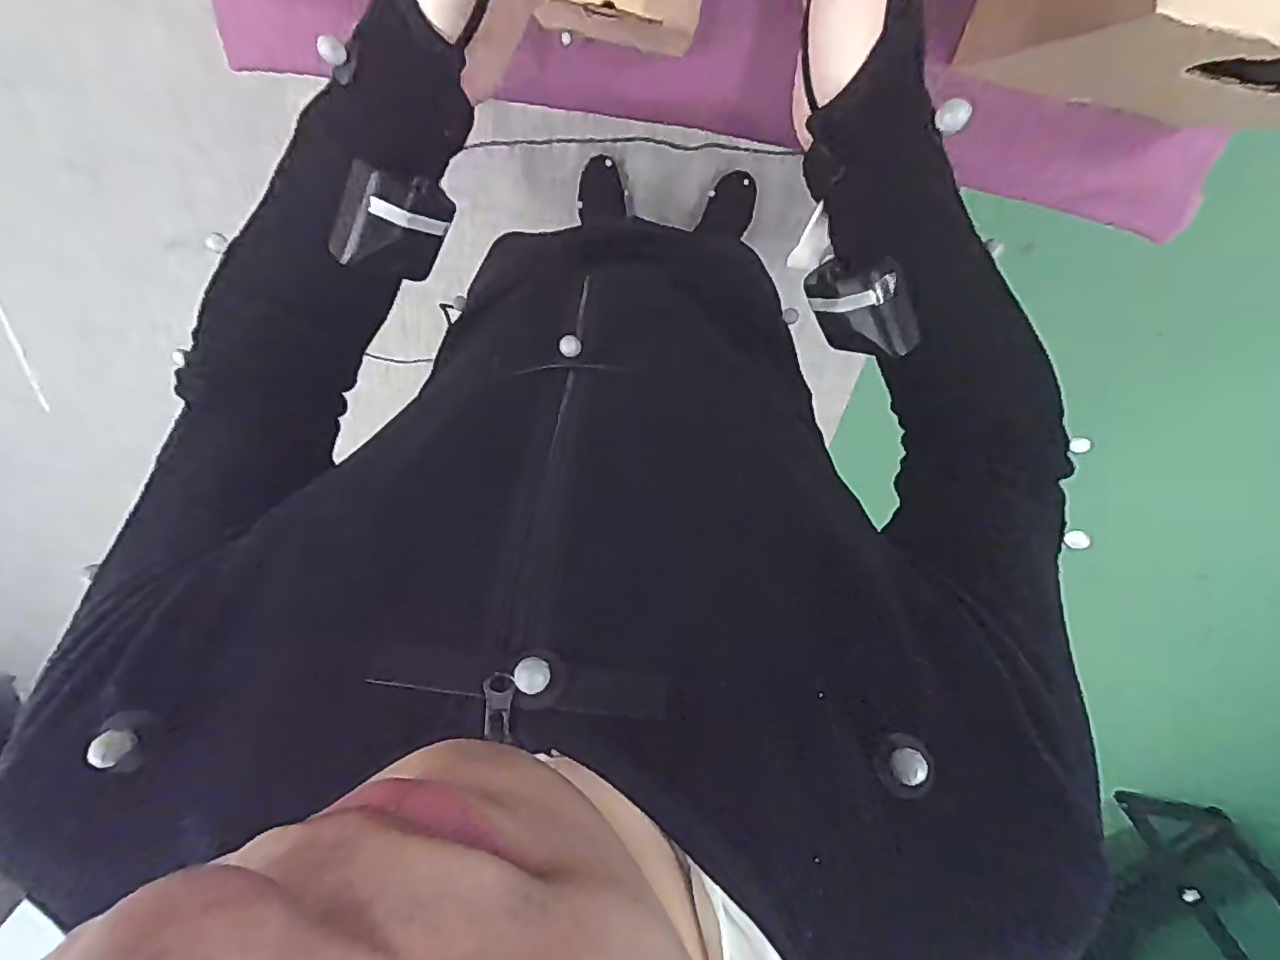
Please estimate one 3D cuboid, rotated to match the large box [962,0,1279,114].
[{"bbox_3d":[0.541,-0.543,0.405,0.320,0.320,0.408,10,123,-3],"label":"large box"}]
